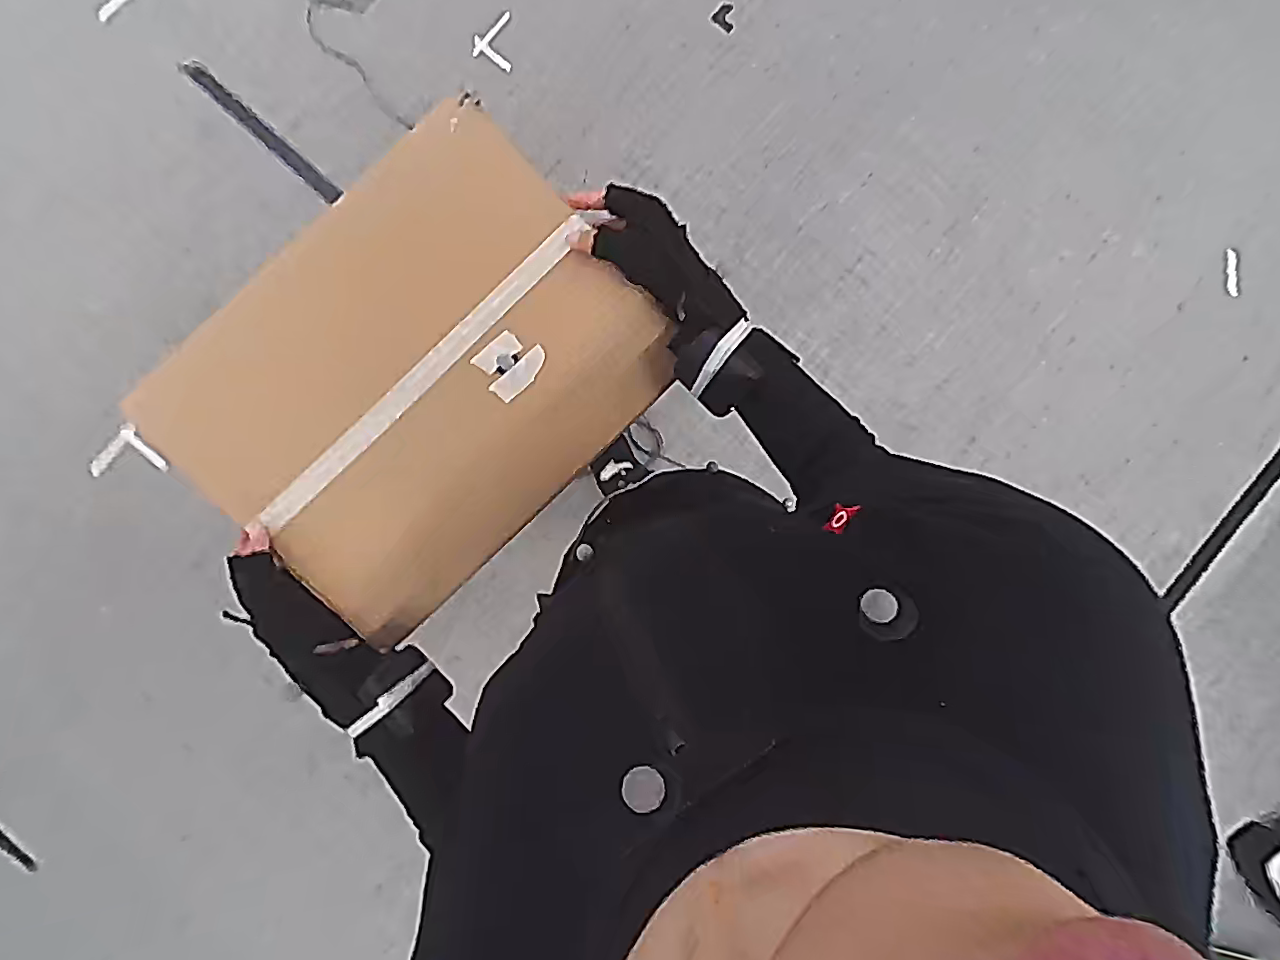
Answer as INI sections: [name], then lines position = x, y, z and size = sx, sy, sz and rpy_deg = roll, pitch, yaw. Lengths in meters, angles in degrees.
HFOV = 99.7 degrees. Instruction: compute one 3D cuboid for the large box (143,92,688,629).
[large box]
position = -0.209, -0.110, 0.641
size = 0.408, 0.320, 0.320
rpy_deg = -44, 97, -2
